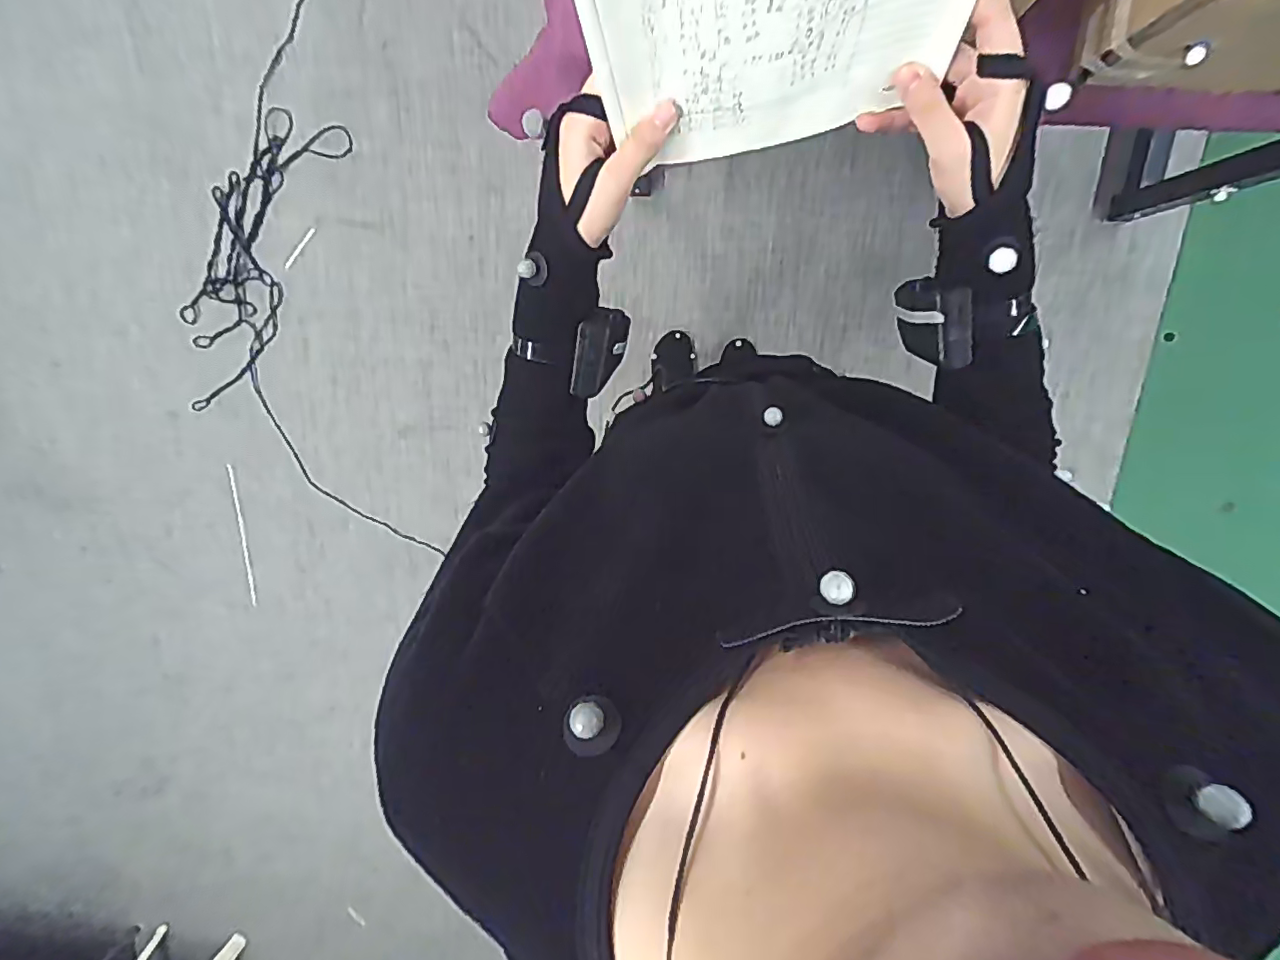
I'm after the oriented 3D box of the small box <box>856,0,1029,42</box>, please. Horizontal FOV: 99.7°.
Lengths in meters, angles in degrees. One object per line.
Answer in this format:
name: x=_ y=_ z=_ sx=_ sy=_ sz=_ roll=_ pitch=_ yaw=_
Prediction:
small box: x=0.325 y=-0.569 z=0.526 sx=0.168 sy=0.176 sz=0.179 roll=6 pitch=102 yaw=4
